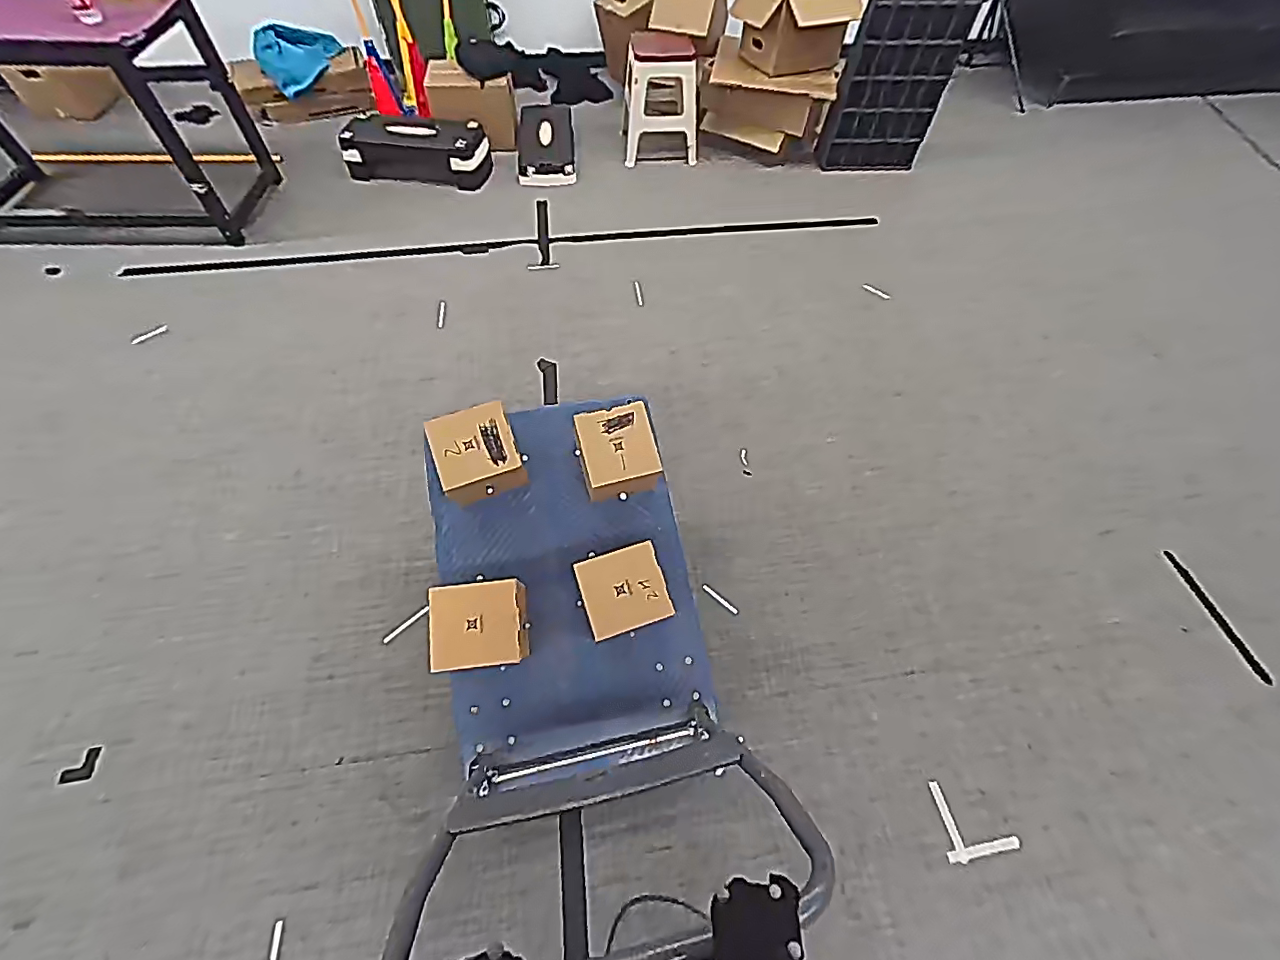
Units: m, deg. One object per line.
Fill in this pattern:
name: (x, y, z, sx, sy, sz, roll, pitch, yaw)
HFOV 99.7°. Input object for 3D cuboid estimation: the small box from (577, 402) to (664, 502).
small box: (-0.053, -0.061, 1.287, 0.168, 0.176, 0.179, -13, 77, -8)

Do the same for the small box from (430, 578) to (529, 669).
small box: (-0.338, 0.308, 1.160, 0.179, 0.176, 0.168, -5, 75, -8)

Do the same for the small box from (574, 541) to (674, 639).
small box: (-0.039, 0.249, 1.203, 0.179, 0.176, 0.168, -16, 77, -9)
